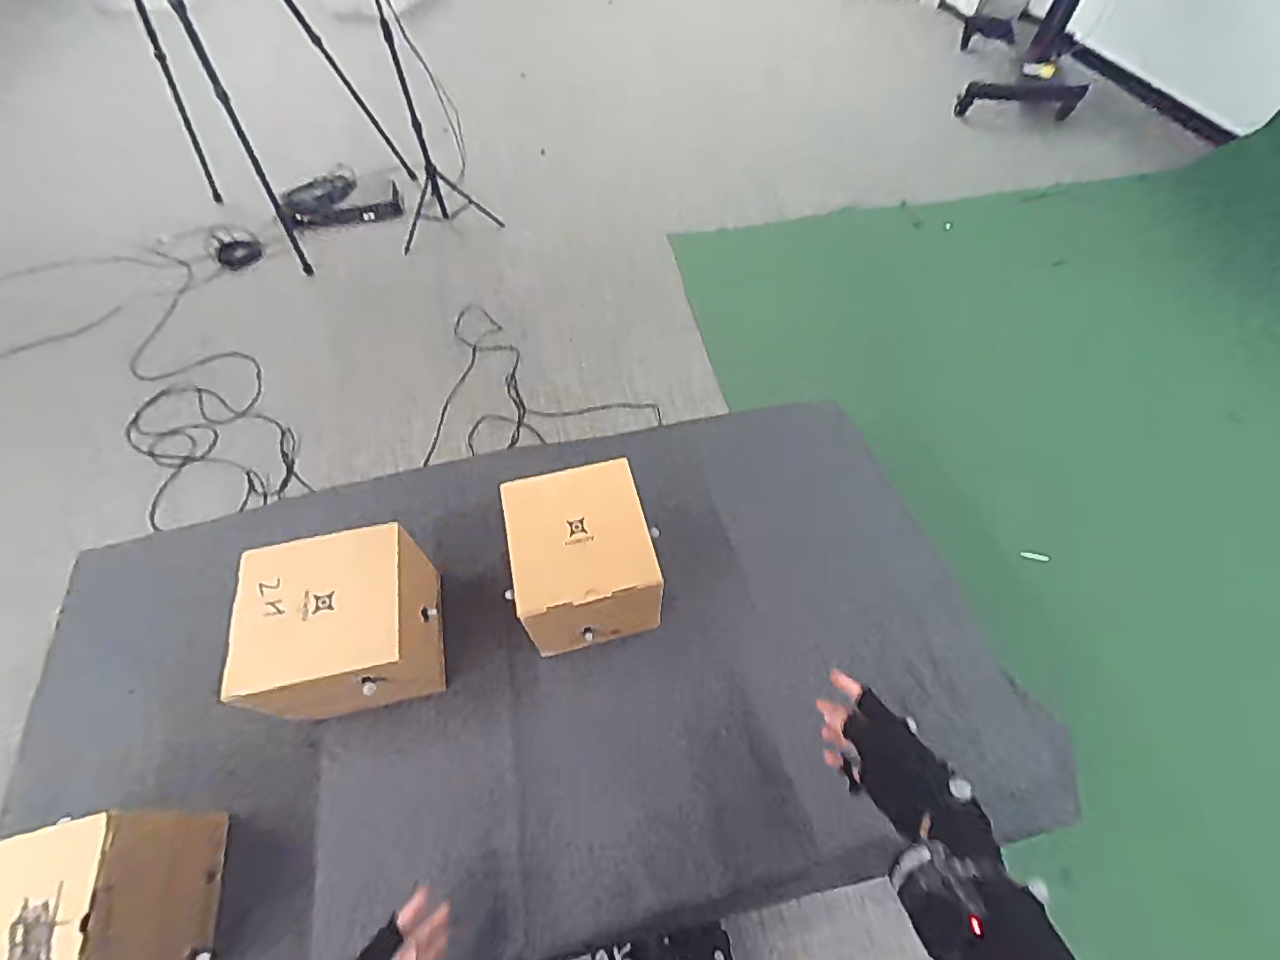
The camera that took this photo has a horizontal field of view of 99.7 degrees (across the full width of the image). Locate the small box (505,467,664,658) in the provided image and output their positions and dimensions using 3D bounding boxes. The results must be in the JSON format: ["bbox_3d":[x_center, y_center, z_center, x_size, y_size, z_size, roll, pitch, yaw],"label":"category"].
[{"bbox_3d":[-0.073,0.112,0.710,0.168,0.176,0.179,-12,59,-9],"label":"small box"}]

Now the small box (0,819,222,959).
[{"bbox_3d":[-0.534,0.427,0.497,0.179,0.176,0.168,-12,58,-8],"label":"small box"}]

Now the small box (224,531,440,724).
[{"bbox_3d":[-0.349,0.183,0.656,0.179,0.176,0.168,-10,59,-8],"label":"small box"}]
